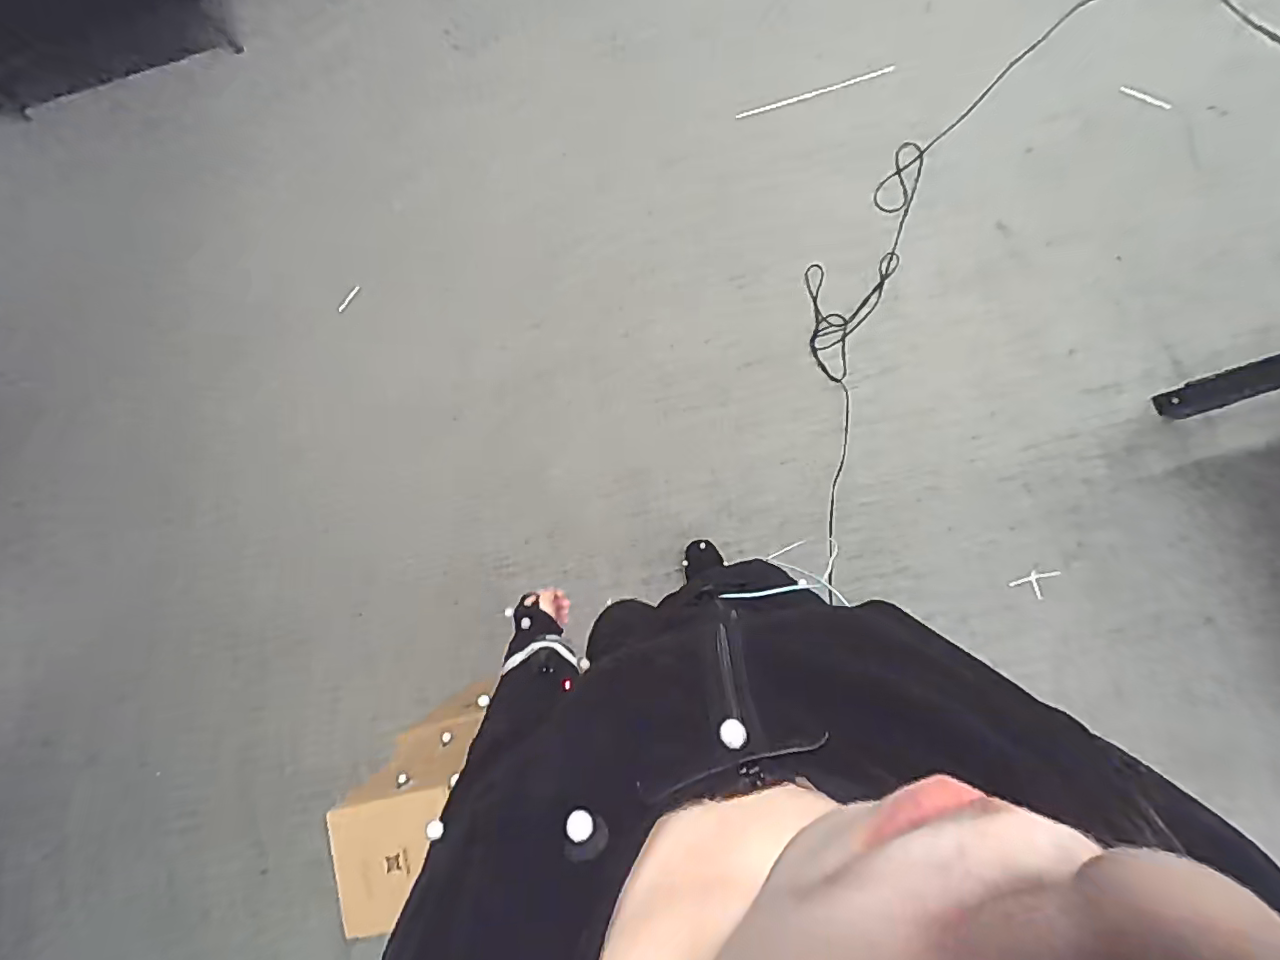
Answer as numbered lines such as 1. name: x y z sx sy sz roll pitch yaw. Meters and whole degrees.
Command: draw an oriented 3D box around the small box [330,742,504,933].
1. small box: -0.316 0.515 0.806 0.179 0.176 0.168 -14 83 4
